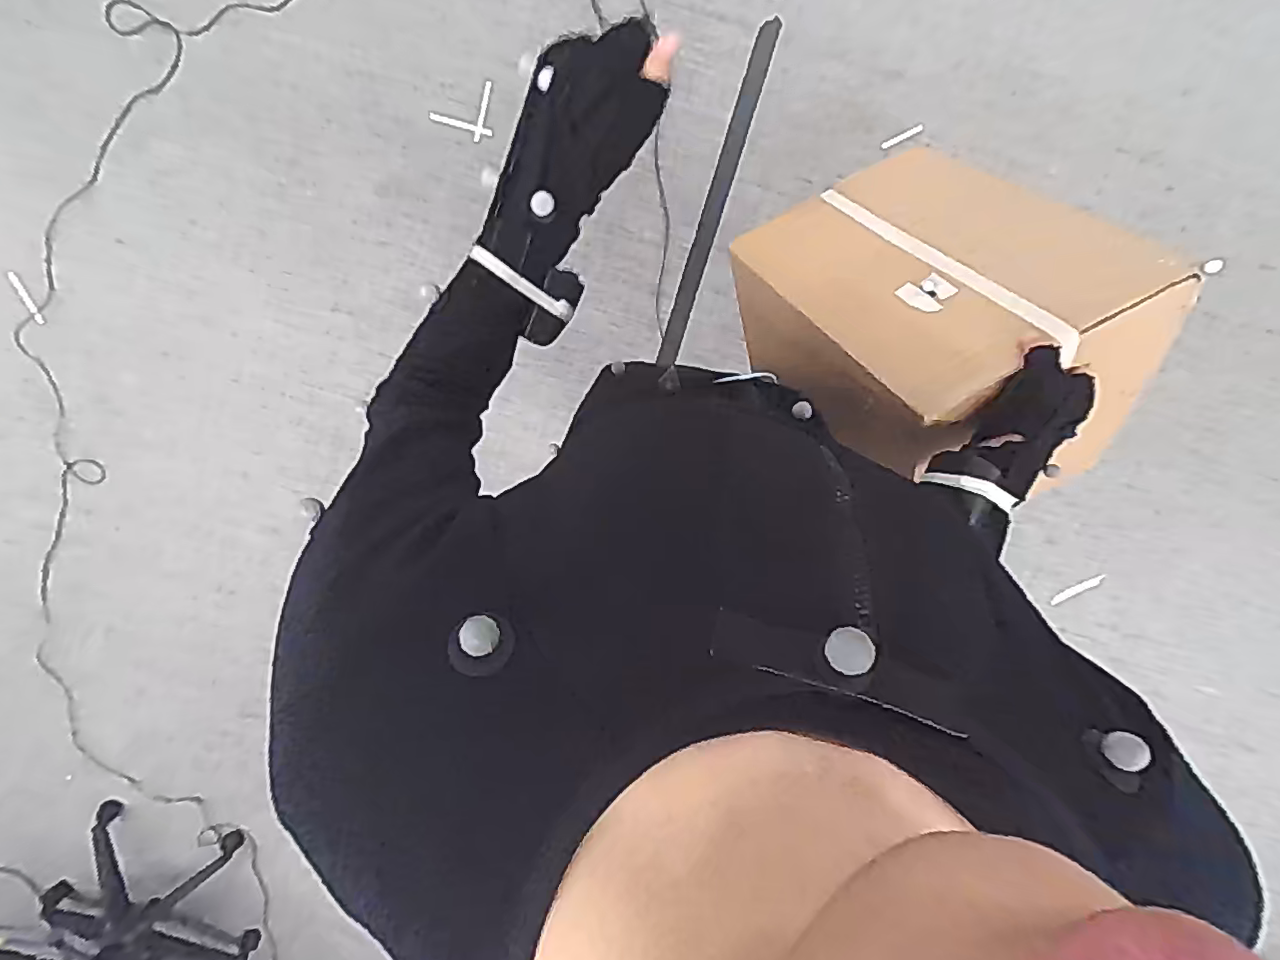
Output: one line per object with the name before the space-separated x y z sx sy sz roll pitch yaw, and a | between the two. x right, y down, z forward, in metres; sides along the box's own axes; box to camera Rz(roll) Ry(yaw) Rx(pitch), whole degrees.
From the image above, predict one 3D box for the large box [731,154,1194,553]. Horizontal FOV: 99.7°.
large box | 0.373 -0.180 0.762 0.320 0.408 0.320 -28 141 0
